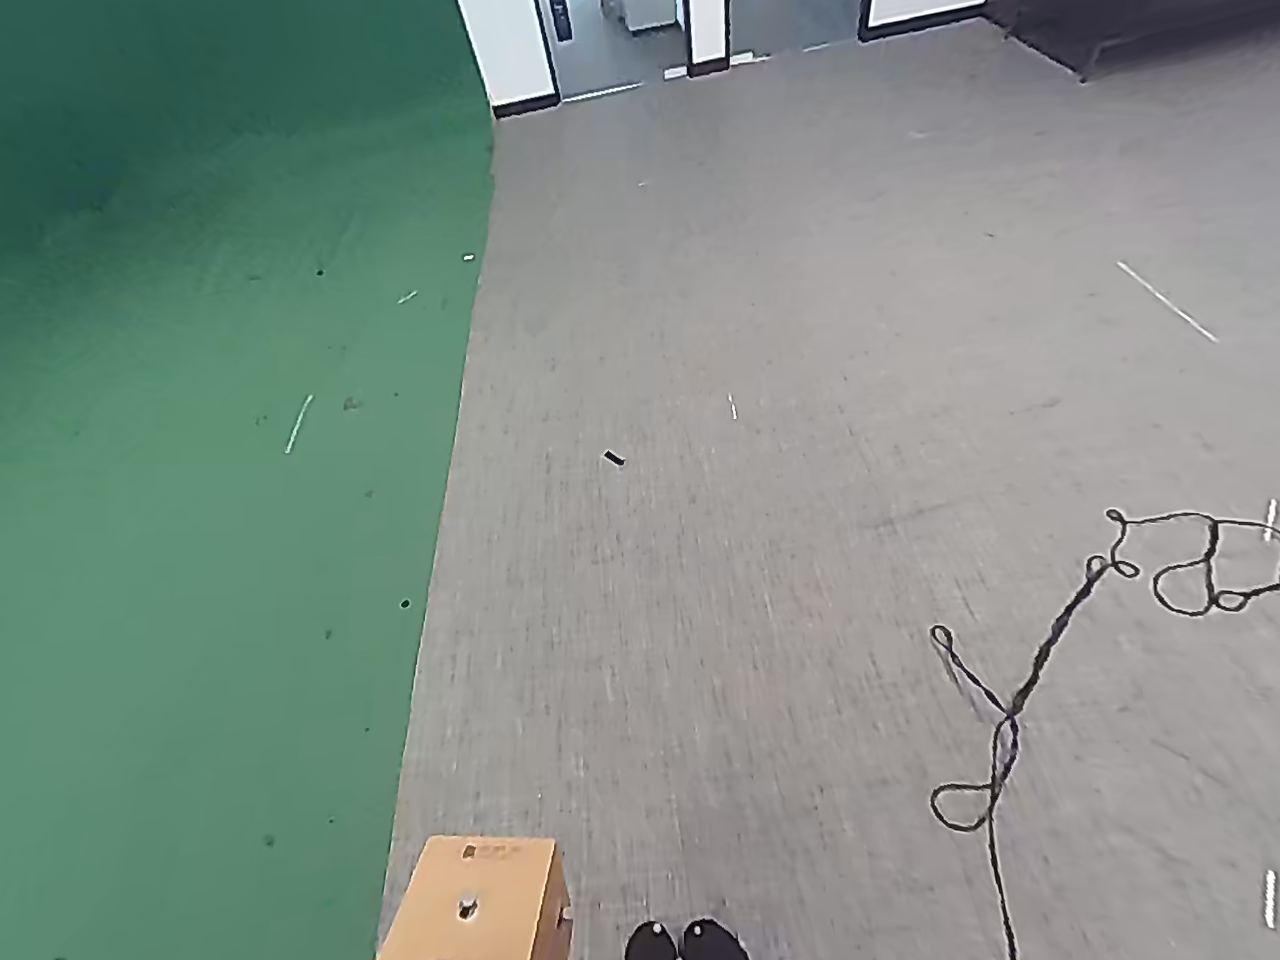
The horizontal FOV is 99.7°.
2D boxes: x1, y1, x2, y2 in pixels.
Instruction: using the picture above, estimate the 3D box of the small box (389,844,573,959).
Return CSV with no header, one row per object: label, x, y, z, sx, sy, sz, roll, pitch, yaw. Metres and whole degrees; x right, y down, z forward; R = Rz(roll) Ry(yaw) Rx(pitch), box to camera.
small box,-0.180,0.557,0.629,0.168,0.179,0.176,-3,23,5
